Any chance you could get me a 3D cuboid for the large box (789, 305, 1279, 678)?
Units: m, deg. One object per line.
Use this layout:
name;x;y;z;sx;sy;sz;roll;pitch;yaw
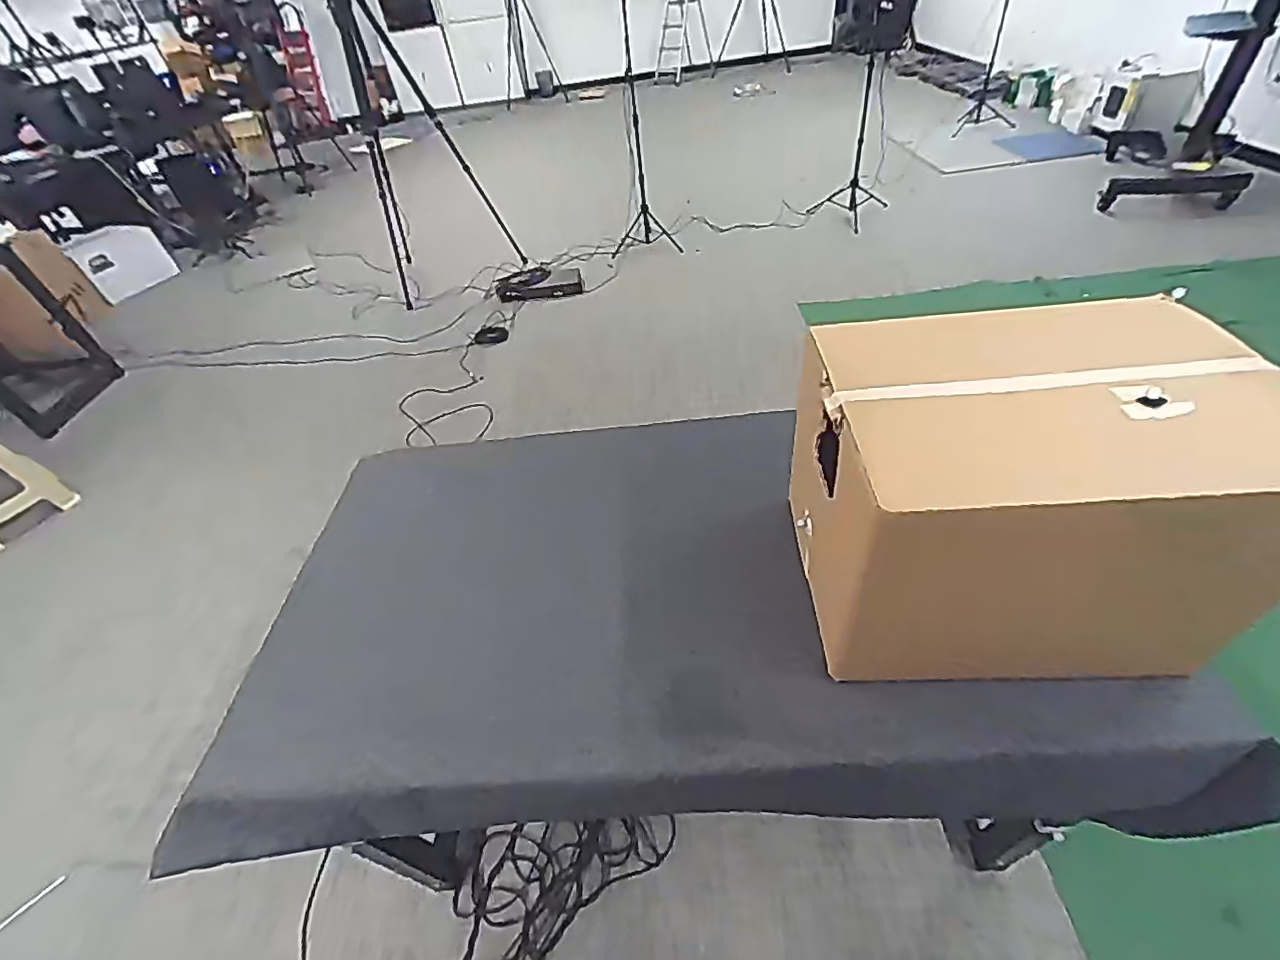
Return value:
large box;0.418;0.018;0.643;0.408;0.320;0.320;-3;44;5
